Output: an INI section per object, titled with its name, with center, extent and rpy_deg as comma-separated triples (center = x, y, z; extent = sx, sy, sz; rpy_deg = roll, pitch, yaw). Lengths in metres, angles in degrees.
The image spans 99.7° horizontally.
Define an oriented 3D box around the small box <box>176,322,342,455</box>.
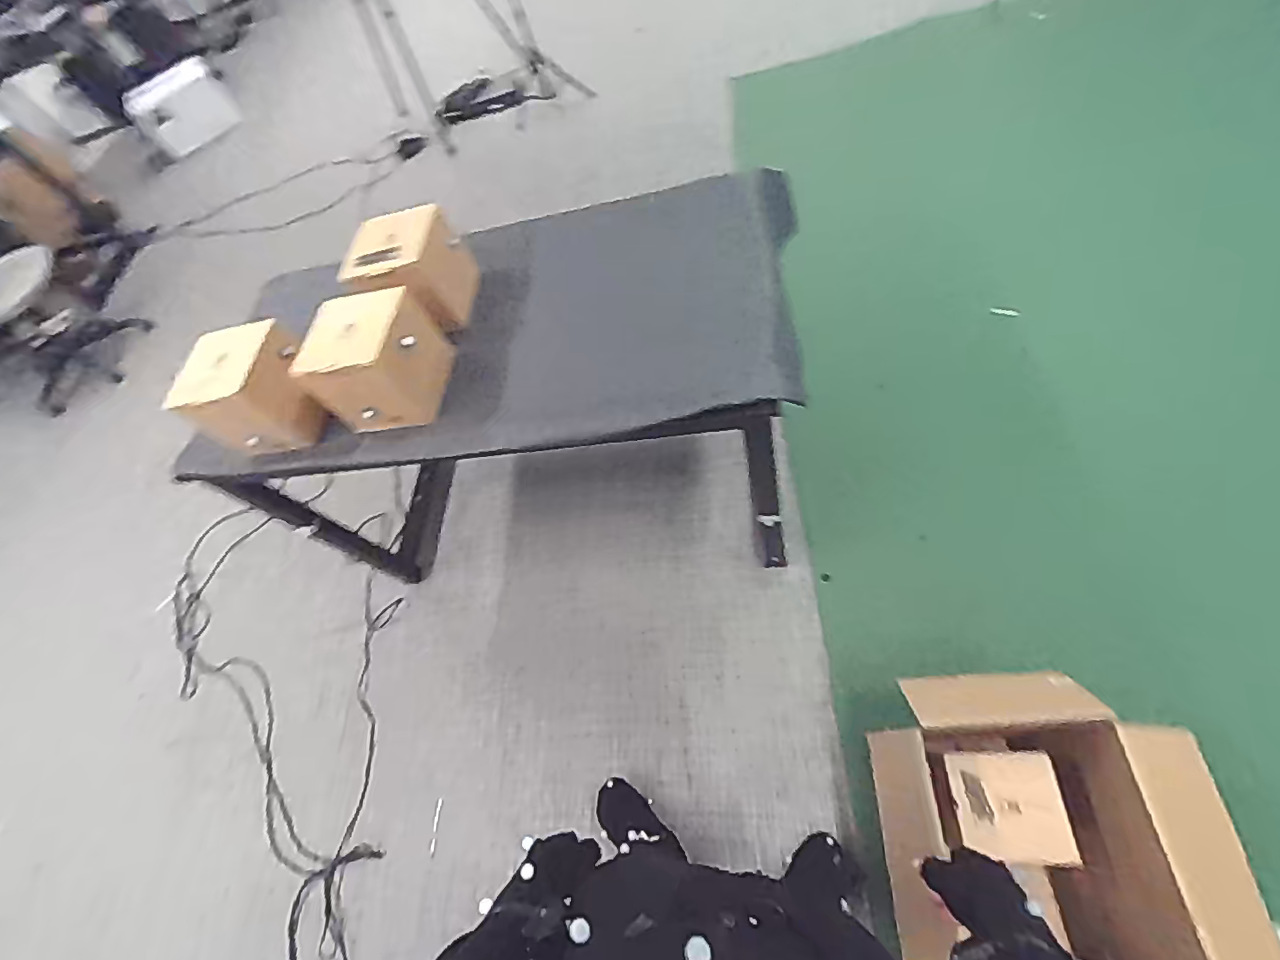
[small box]
center = -0.712, -0.169, 1.035
extent = 0.168, 0.176, 0.179
rpy_deg = -6, 60, 14
